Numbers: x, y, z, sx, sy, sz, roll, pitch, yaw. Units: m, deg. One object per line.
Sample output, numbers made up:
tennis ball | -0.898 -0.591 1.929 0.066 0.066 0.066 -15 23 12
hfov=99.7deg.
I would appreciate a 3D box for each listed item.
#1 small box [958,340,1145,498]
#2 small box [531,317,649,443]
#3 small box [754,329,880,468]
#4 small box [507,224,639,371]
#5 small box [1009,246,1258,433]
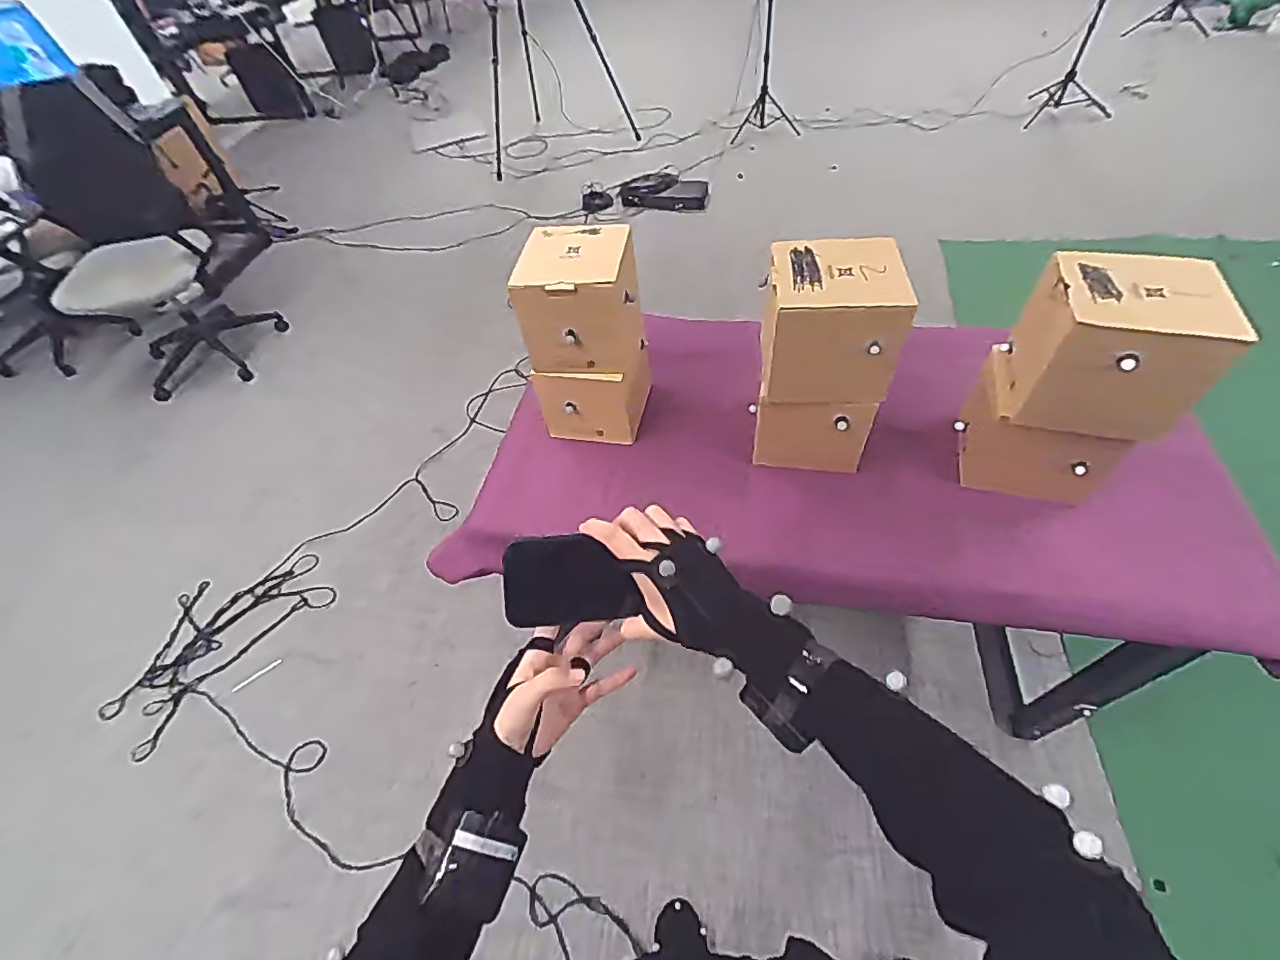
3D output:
small box | 0.622 -0.092 0.843 0.179 0.176 0.168 11 53 16
small box | -0.082 -0.188 1.016 0.168 0.176 0.179 6 52 13
small box | 0.294 -0.136 0.921 0.179 0.176 0.168 5 52 12
small box | -0.098 -0.296 0.894 0.168 0.176 0.179 2 53 9
small box | 0.610 -0.181 0.706 0.179 0.176 0.168 11 53 15
